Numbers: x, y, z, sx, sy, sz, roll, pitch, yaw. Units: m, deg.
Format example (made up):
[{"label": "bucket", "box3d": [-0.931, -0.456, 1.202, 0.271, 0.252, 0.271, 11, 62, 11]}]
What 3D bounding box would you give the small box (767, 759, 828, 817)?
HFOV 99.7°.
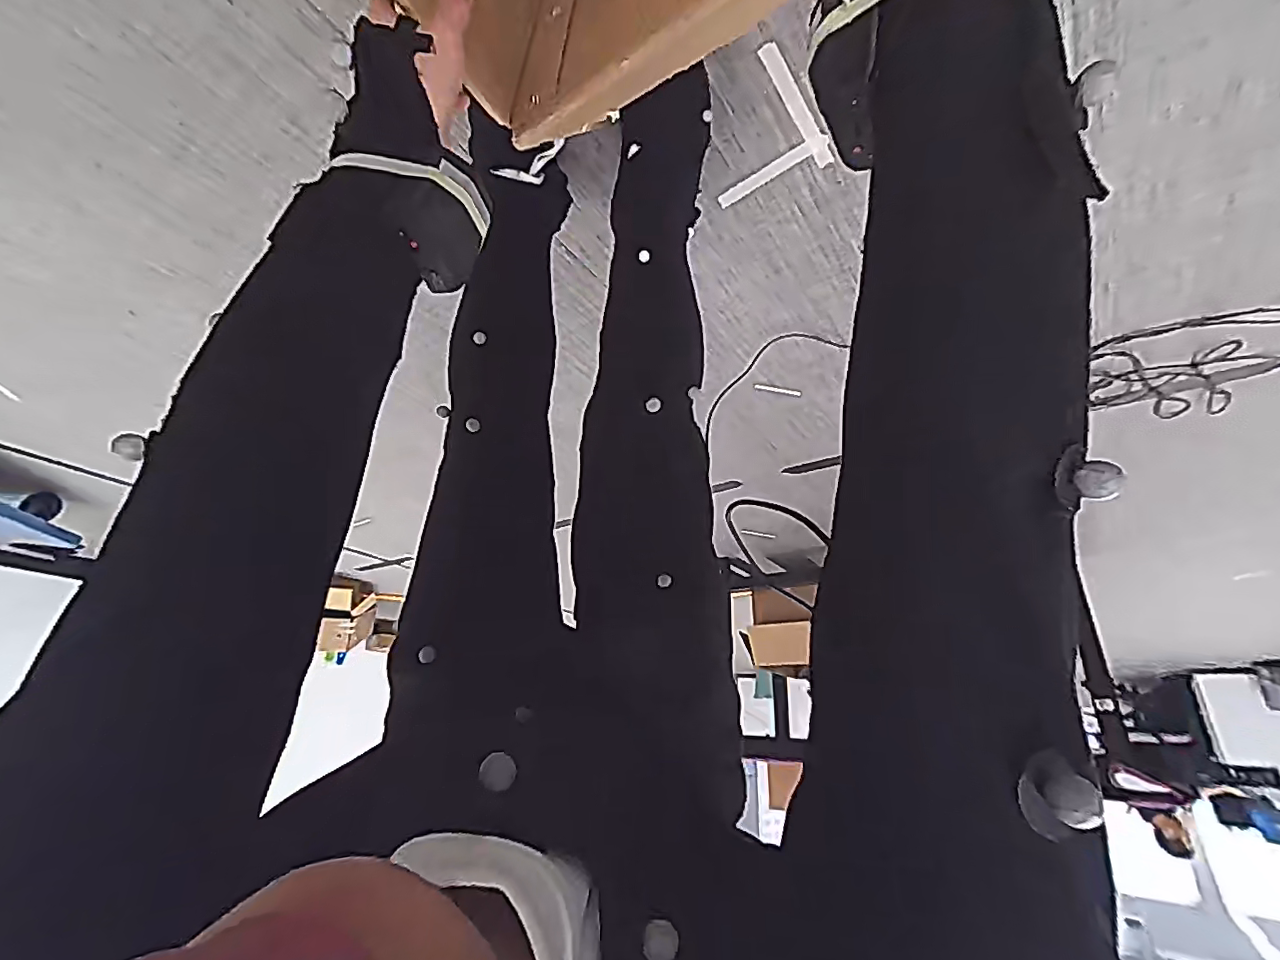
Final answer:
[{"label": "small box", "box3d": [0.568, 1.111, 1.962, 0.179, 0.176, 0.168, -13, 151, 29]}]
